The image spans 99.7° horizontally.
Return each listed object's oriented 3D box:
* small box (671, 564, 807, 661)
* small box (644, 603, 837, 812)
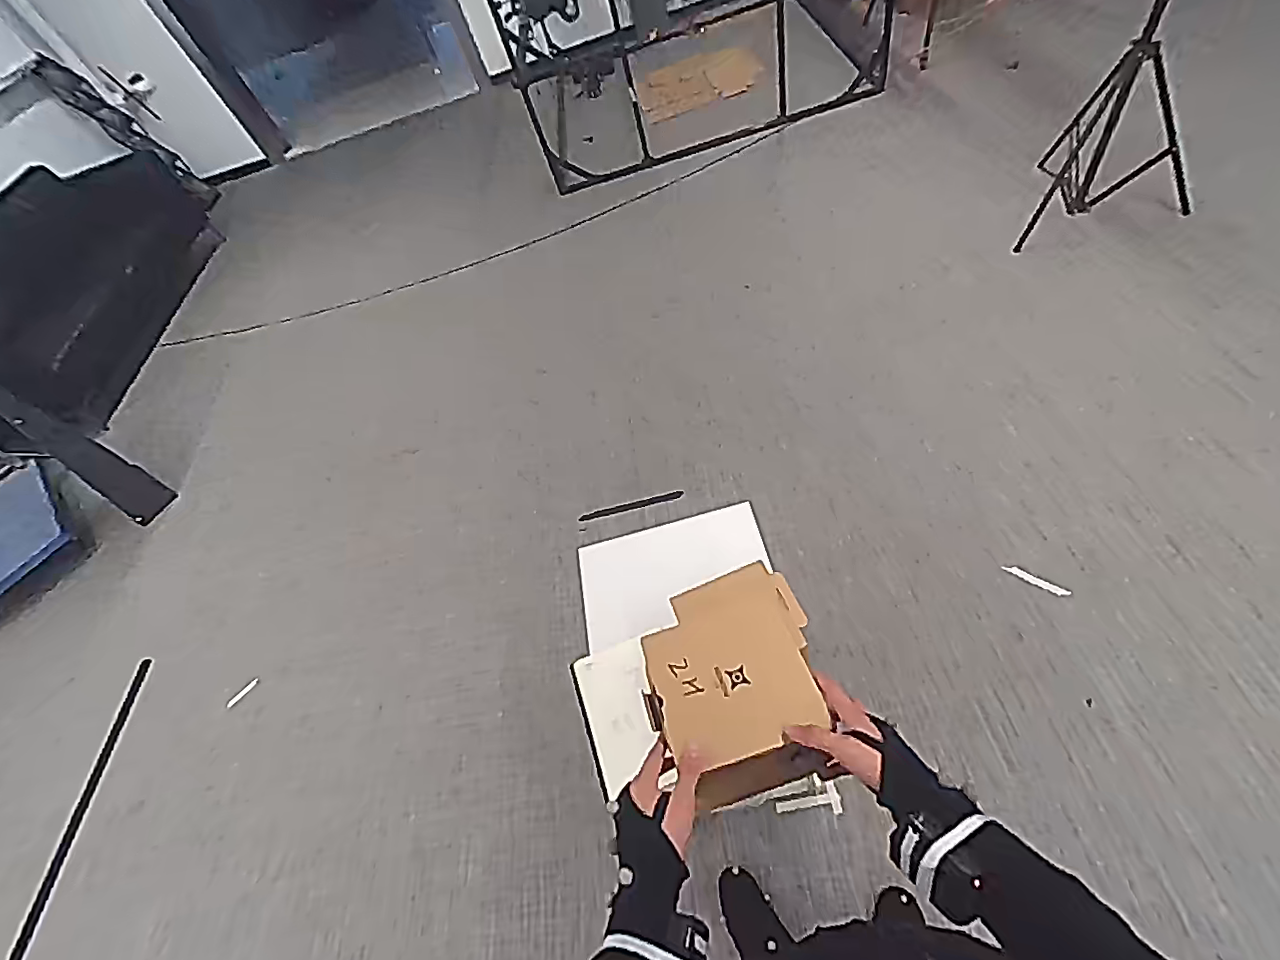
[{"bbox_3d":[0.174,0.278,0.944,0.179,0.176,0.168,-23,52,2],"label":"small box"},{"bbox_3d":[0.118,0.284,0.671,0.179,0.176,0.168,-18,48,-2],"label":"small box"}]
